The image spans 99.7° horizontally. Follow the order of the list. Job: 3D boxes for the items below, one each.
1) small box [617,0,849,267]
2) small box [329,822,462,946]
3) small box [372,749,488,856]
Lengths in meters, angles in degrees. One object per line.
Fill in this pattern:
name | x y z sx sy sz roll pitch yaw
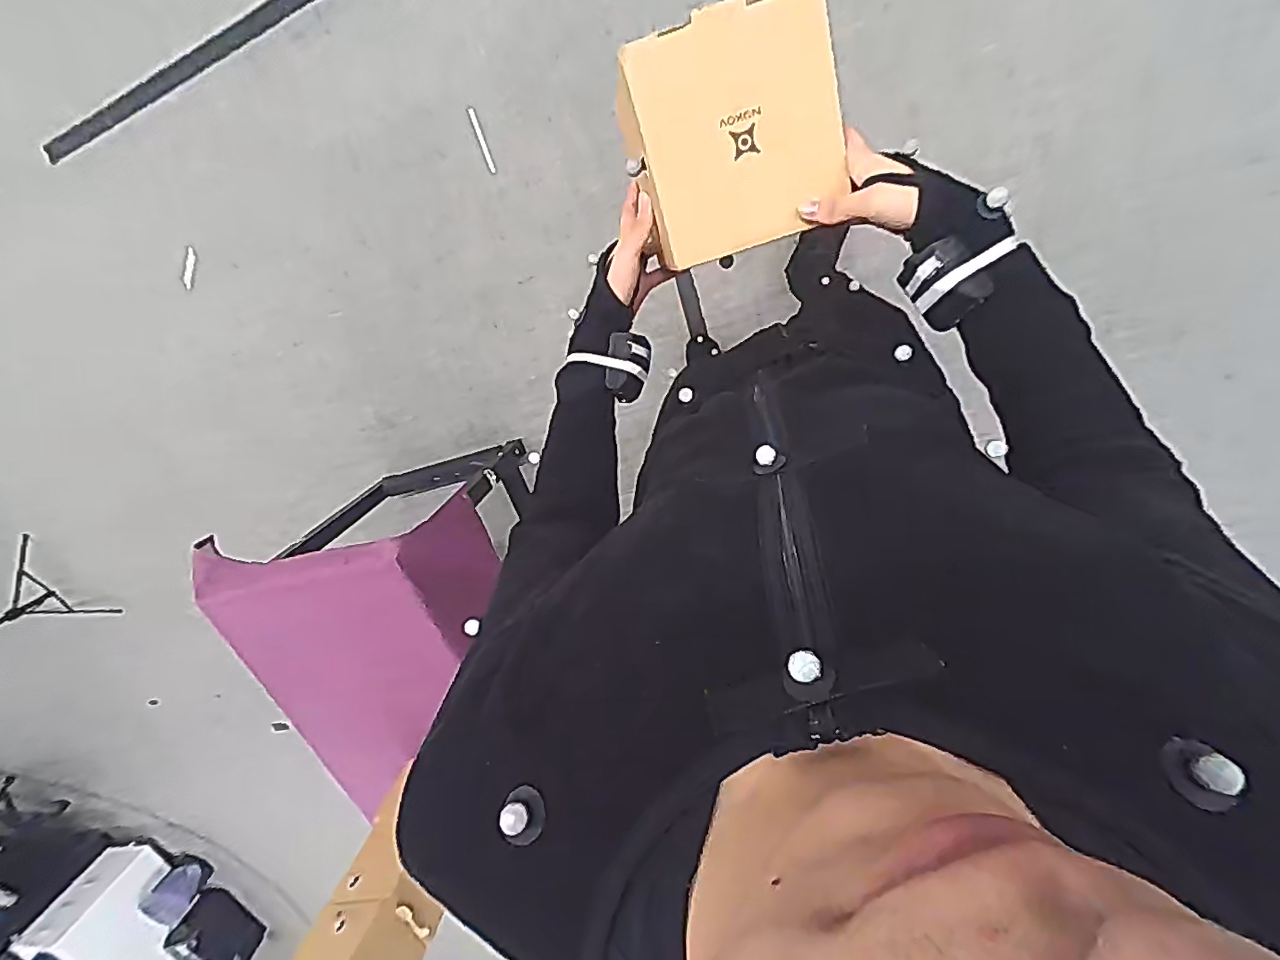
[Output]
small box | 0.080 -0.321 0.524 0.168 0.176 0.179 -17 112 3
small box | -0.540 0.906 1.218 0.179 0.176 0.168 -18 112 18
small box | -0.514 0.813 1.354 0.168 0.176 0.179 -24 109 20
